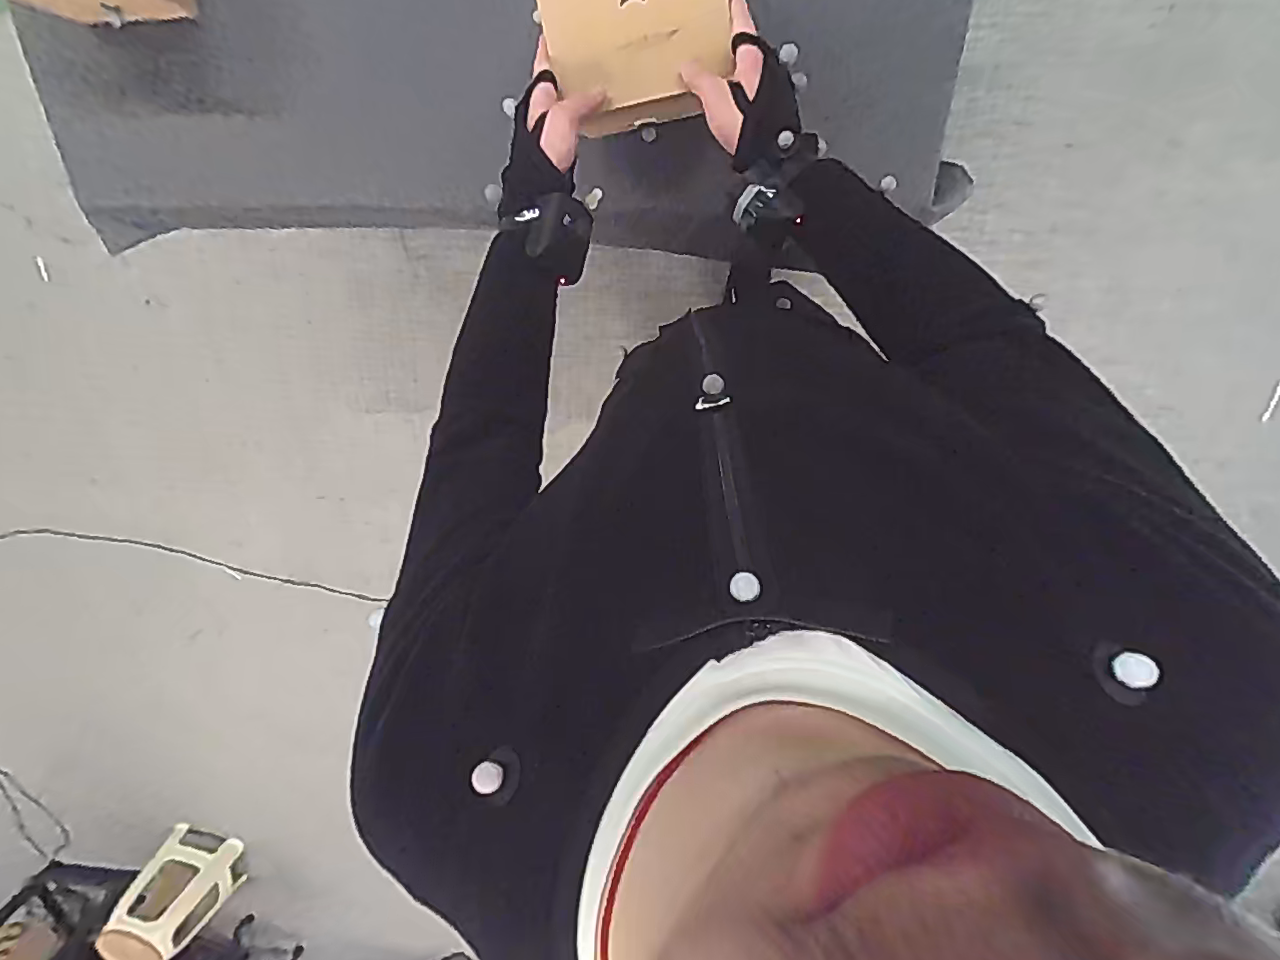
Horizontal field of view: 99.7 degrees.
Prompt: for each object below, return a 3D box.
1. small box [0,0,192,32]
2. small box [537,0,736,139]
[{"bbox_3d":[-0.656,-0.633,0.605,0.179,0.176,0.168,2,113,6],"label":"small box"},{"bbox_3d":[0.001,-0.449,0.518,0.168,0.176,0.179,-4,117,10],"label":"small box"}]
